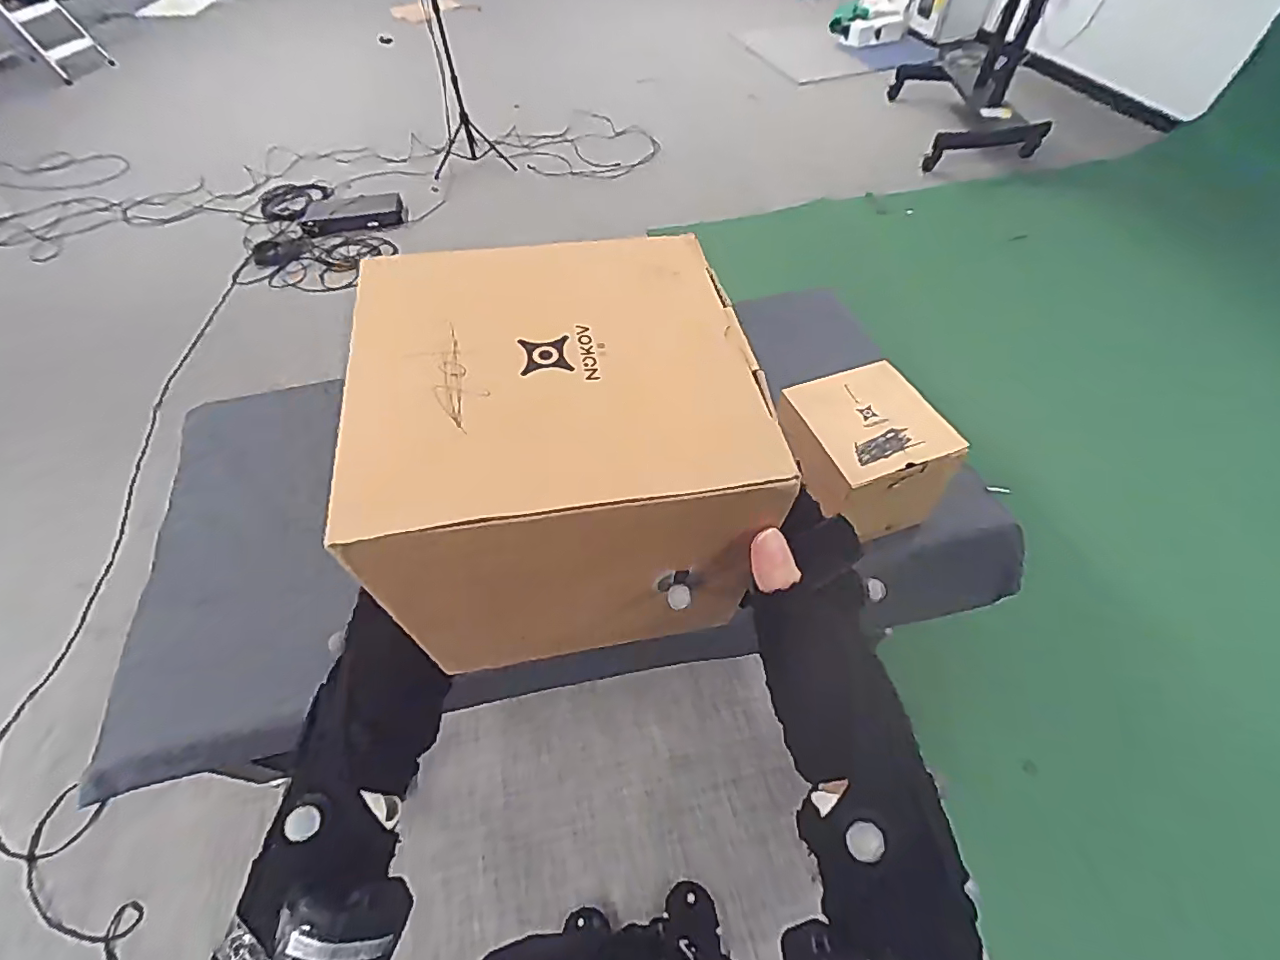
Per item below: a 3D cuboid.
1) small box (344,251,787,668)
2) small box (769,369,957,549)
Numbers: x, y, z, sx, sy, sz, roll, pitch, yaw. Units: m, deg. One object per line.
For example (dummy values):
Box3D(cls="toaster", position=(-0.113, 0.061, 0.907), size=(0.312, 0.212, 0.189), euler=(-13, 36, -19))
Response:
Box3D(cls="small box", position=(-0.041, -0.006, 0.317), size=(0.179, 0.176, 0.168), euler=(-9, 56, -8))
Box3D(cls="small box", position=(0.292, -0.022, 0.763), size=(0.168, 0.176, 0.179), euler=(-16, 53, -10))
